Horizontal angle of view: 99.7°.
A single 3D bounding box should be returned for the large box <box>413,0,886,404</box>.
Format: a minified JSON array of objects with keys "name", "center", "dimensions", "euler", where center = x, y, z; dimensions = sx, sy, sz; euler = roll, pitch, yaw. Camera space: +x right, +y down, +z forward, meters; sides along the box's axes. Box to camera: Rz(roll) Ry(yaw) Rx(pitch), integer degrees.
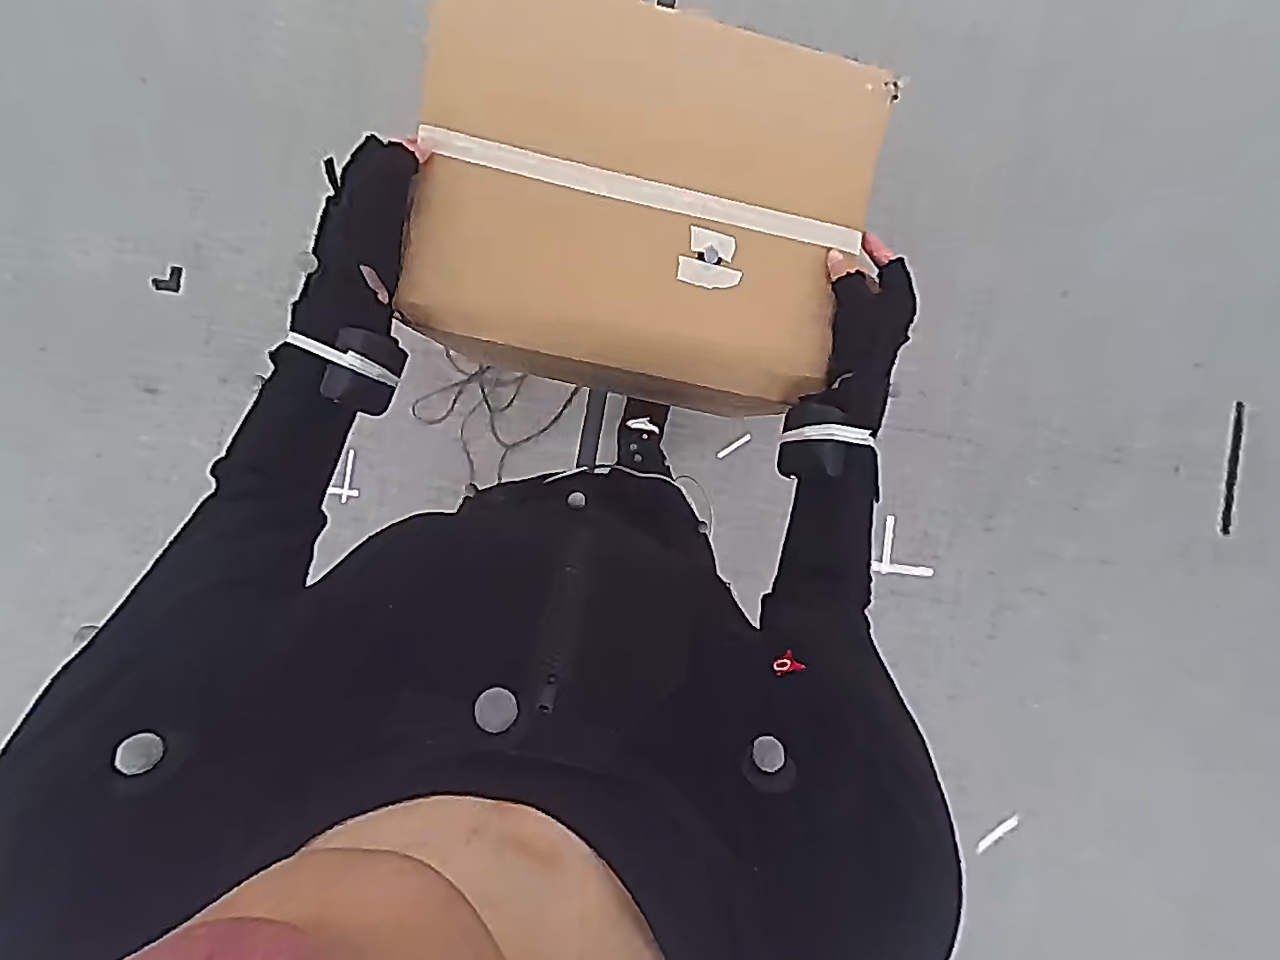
[{"name":"large box","center":[-0.002,-0.285,0.649],"dimensions":[0.408,0.320,0.320],"euler":[11,96,-6]}]
